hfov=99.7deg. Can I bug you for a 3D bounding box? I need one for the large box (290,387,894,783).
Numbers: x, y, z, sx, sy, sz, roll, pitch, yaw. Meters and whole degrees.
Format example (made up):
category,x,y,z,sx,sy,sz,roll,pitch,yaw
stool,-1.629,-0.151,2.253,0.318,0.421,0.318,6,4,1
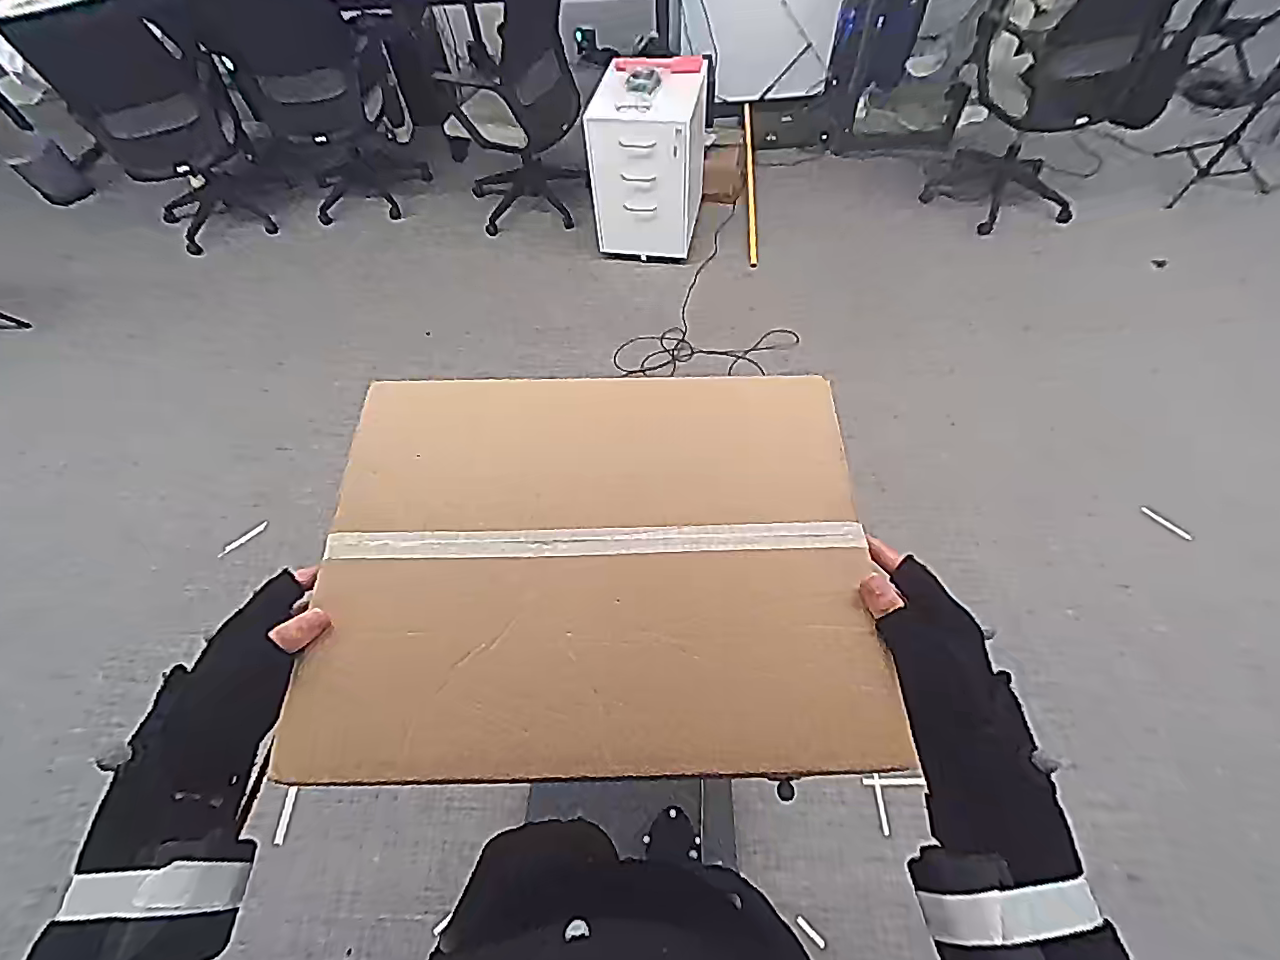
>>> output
category,x,y,z,sx,sy,sz,roll,pitch,yaw
large box,-0.033,0.122,0.552,0.408,0.320,0.320,0,61,-1
